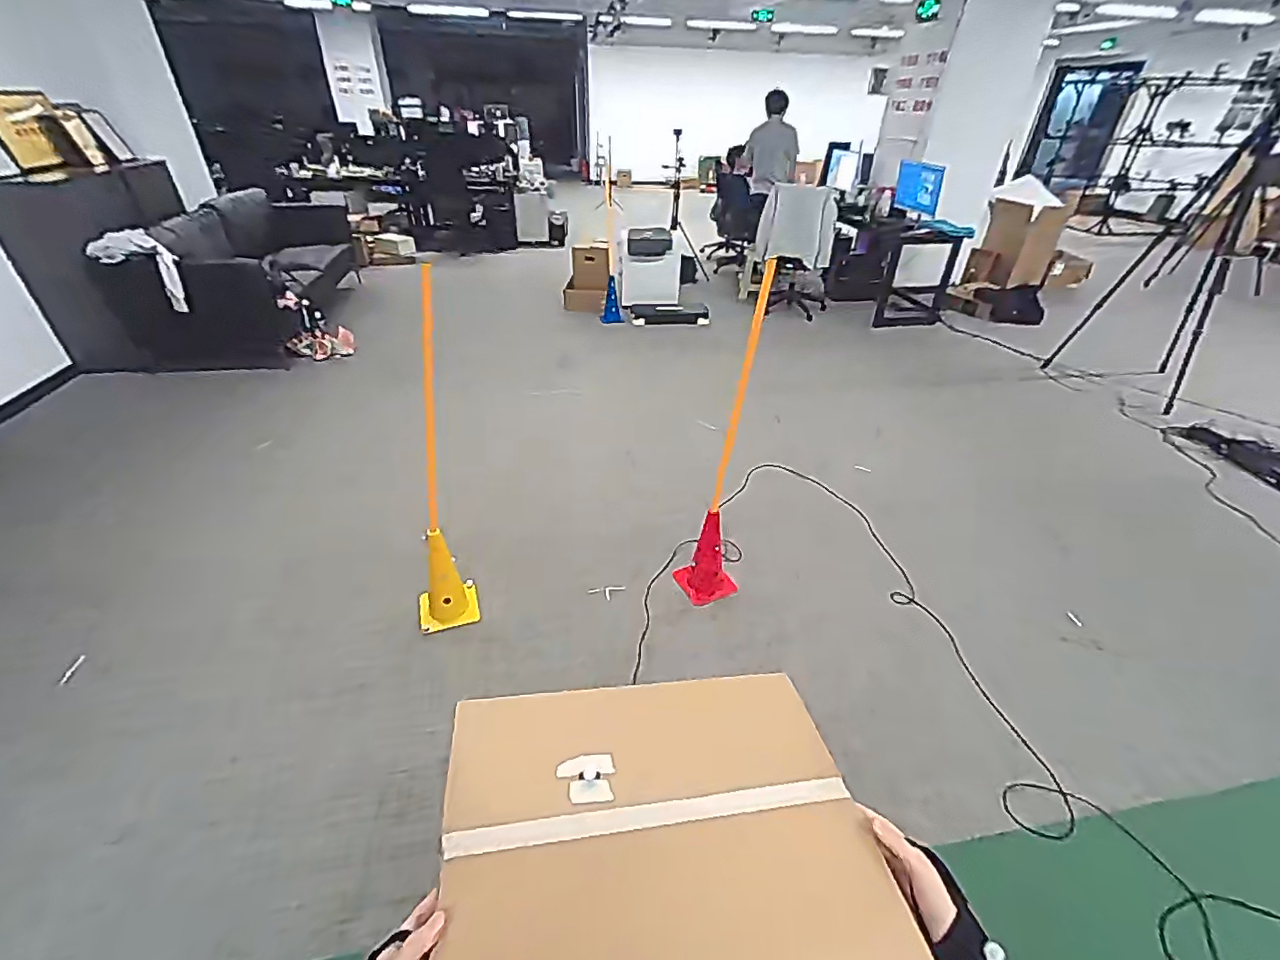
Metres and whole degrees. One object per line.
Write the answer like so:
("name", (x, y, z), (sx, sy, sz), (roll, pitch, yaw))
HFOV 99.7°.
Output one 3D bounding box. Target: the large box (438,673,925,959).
("large box", (0.008, 0.461, 0.607), (0.408, 0.320, 0.320), (-1, 31, -12))
